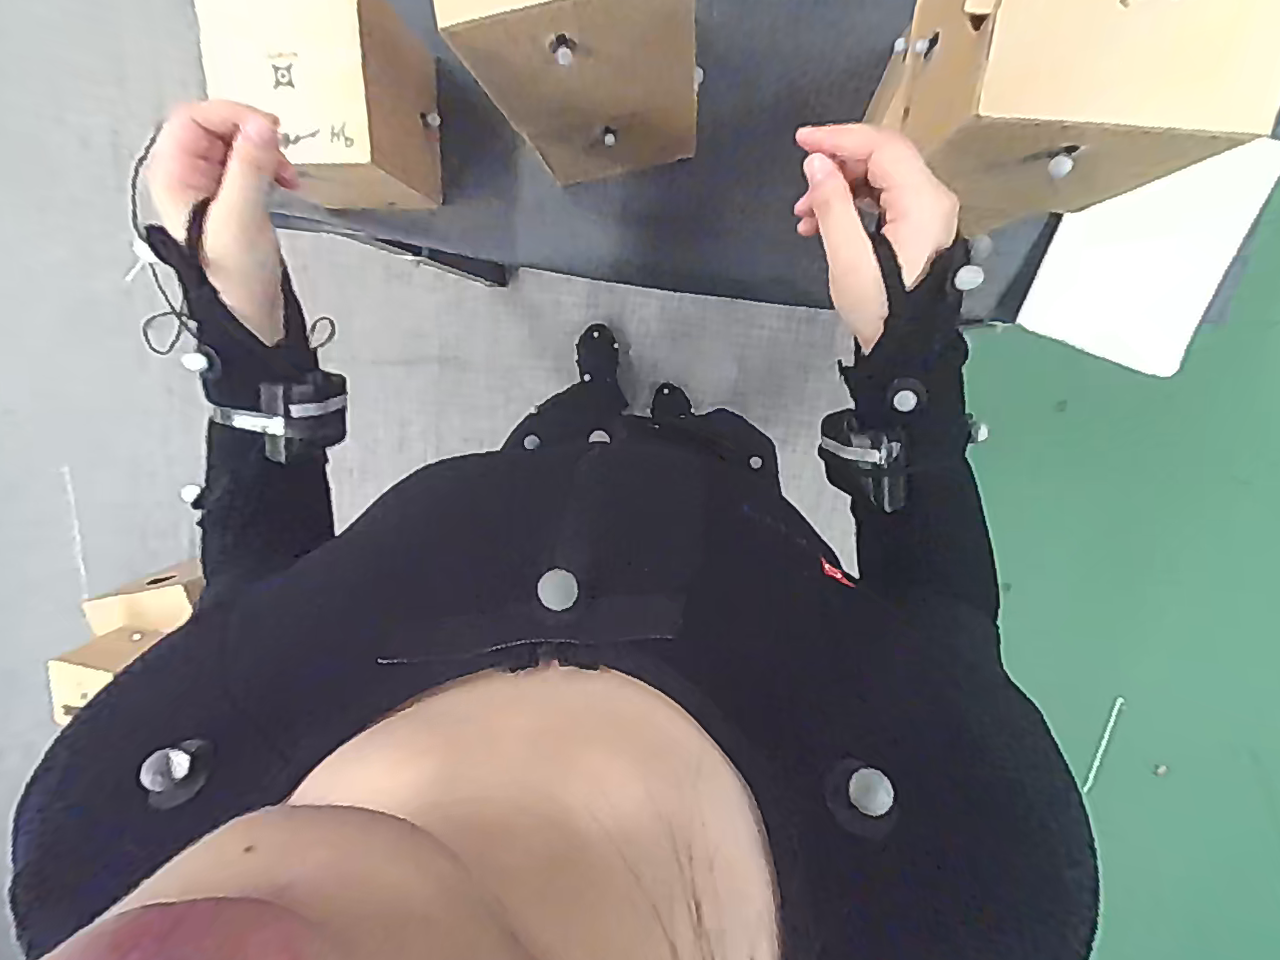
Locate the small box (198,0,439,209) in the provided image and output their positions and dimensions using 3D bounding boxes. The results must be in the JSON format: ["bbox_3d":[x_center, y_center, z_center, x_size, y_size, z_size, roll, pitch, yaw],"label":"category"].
[{"bbox_3d":[-0.345,-0.426,0.614,0.168,0.176,0.179,2,103,5],"label":"small box"}]

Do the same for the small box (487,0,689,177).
[{"bbox_3d":[-0.045,-0.451,0.579,0.179,0.176,0.168,-9,102,7],"label":"small box"}]

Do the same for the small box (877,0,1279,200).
[{"bbox_3d":[0.303,-0.321,0.401,0.179,0.176,0.168,7,102,5],"label":"small box"}]

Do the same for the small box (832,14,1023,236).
[{"bbox_3d":[0.320,-0.381,0.555,0.168,0.176,0.179,23,104,2],"label":"small box"}]
